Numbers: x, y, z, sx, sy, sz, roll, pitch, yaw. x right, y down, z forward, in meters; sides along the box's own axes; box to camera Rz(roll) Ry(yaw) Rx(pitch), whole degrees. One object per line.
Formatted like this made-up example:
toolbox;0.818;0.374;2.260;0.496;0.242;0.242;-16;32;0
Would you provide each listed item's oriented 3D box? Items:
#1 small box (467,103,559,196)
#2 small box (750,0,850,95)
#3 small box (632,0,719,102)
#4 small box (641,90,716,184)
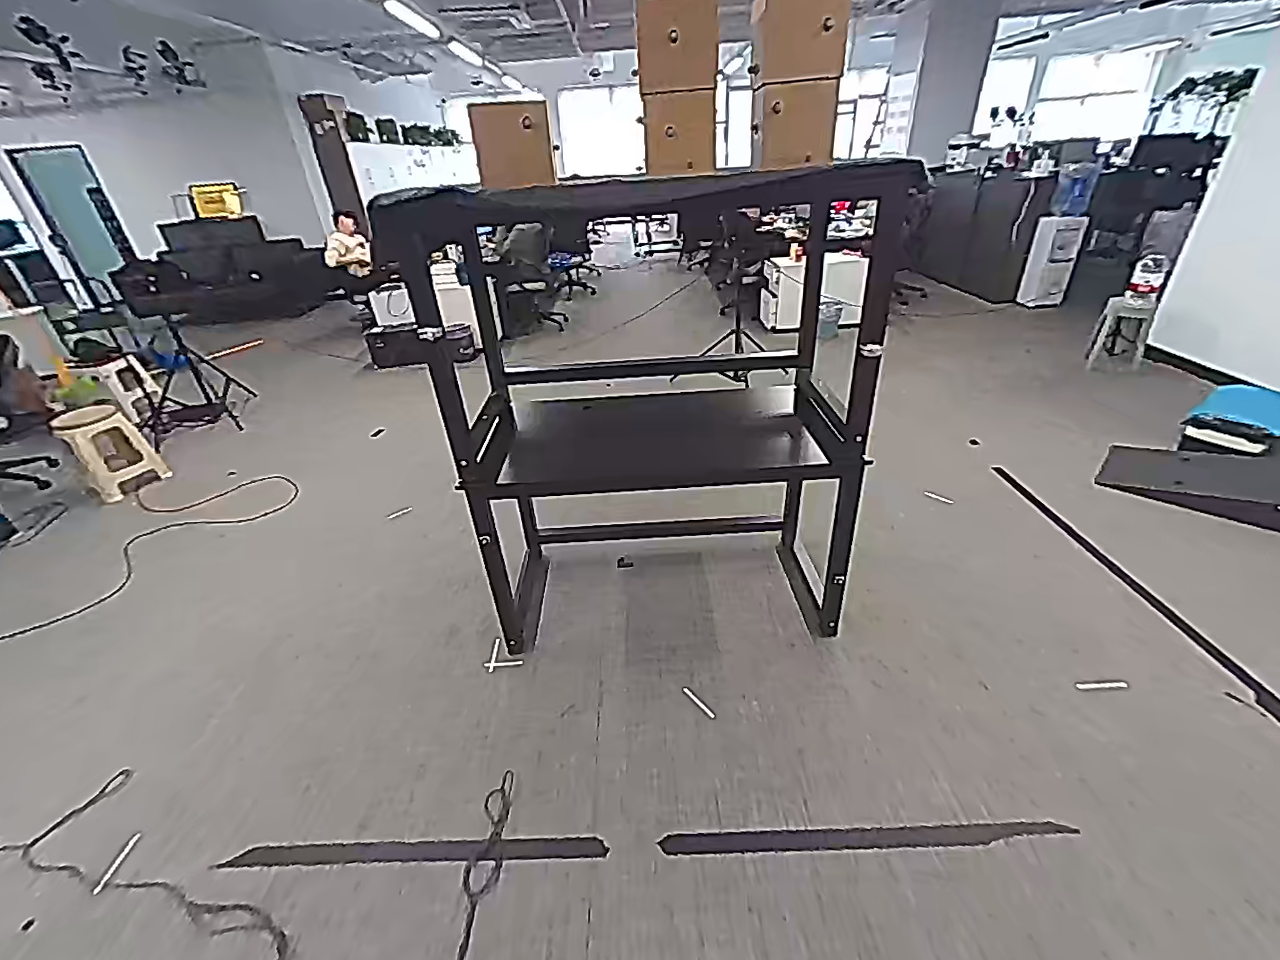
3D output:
small box;-0.288;-0.774;1.273;0.179;0.176;0.168;-6;29;-3
small box;0.342;-0.955;1.179;0.179;0.176;0.168;-4;28;3
small box;0.081;-0.946;1.198;0.179;0.176;0.168;-3;29;5
small box;0.094;-0.808;1.287;0.168;0.176;0.179;-2;29;4
